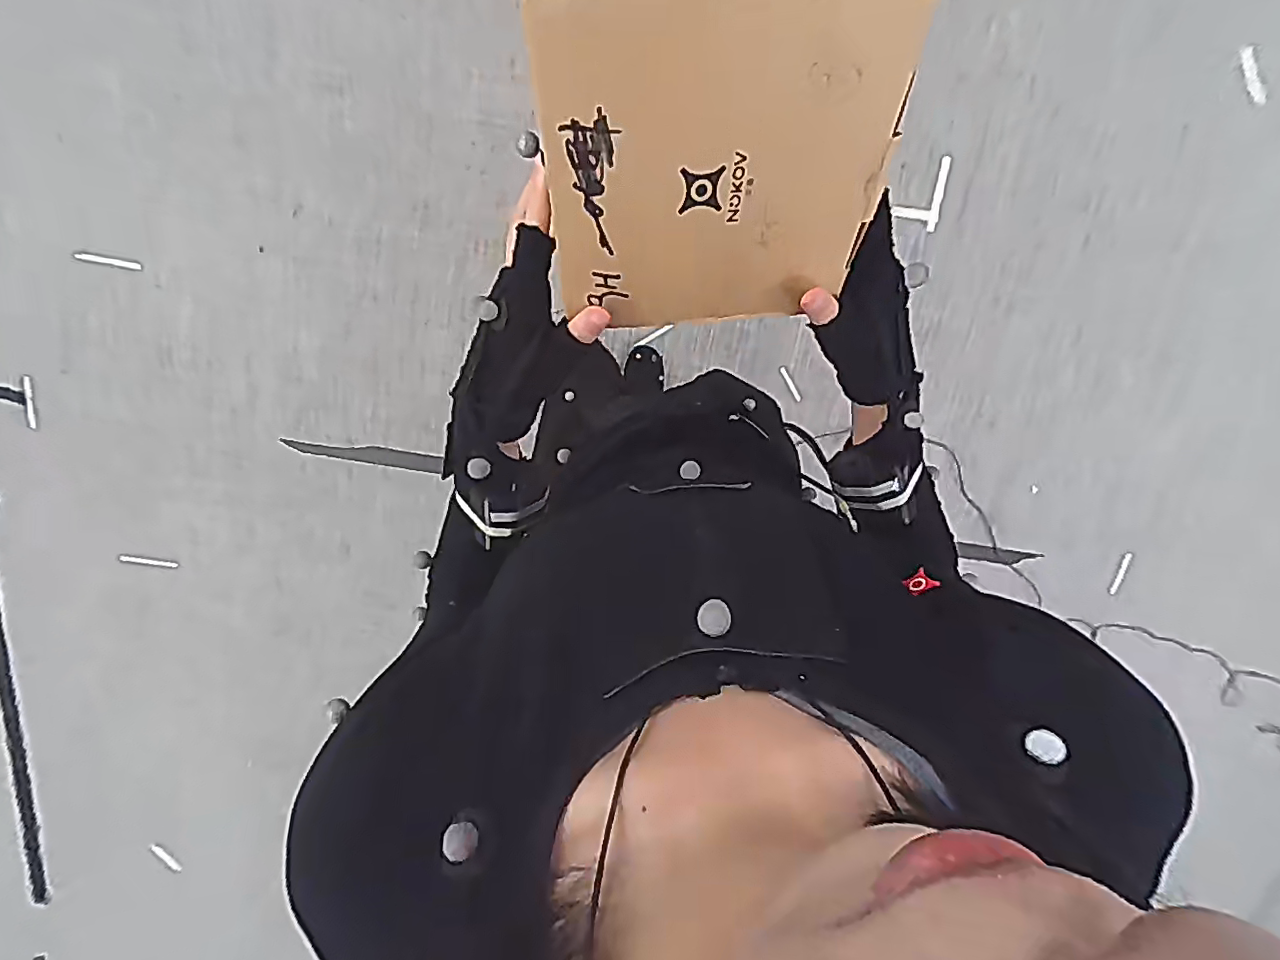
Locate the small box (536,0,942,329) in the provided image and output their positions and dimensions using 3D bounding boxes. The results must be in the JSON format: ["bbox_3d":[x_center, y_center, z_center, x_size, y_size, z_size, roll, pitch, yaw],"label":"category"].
[{"bbox_3d":[0.032,-0.215,0.331,0.179,0.176,0.168,-5,143,-4],"label":"small box"}]
